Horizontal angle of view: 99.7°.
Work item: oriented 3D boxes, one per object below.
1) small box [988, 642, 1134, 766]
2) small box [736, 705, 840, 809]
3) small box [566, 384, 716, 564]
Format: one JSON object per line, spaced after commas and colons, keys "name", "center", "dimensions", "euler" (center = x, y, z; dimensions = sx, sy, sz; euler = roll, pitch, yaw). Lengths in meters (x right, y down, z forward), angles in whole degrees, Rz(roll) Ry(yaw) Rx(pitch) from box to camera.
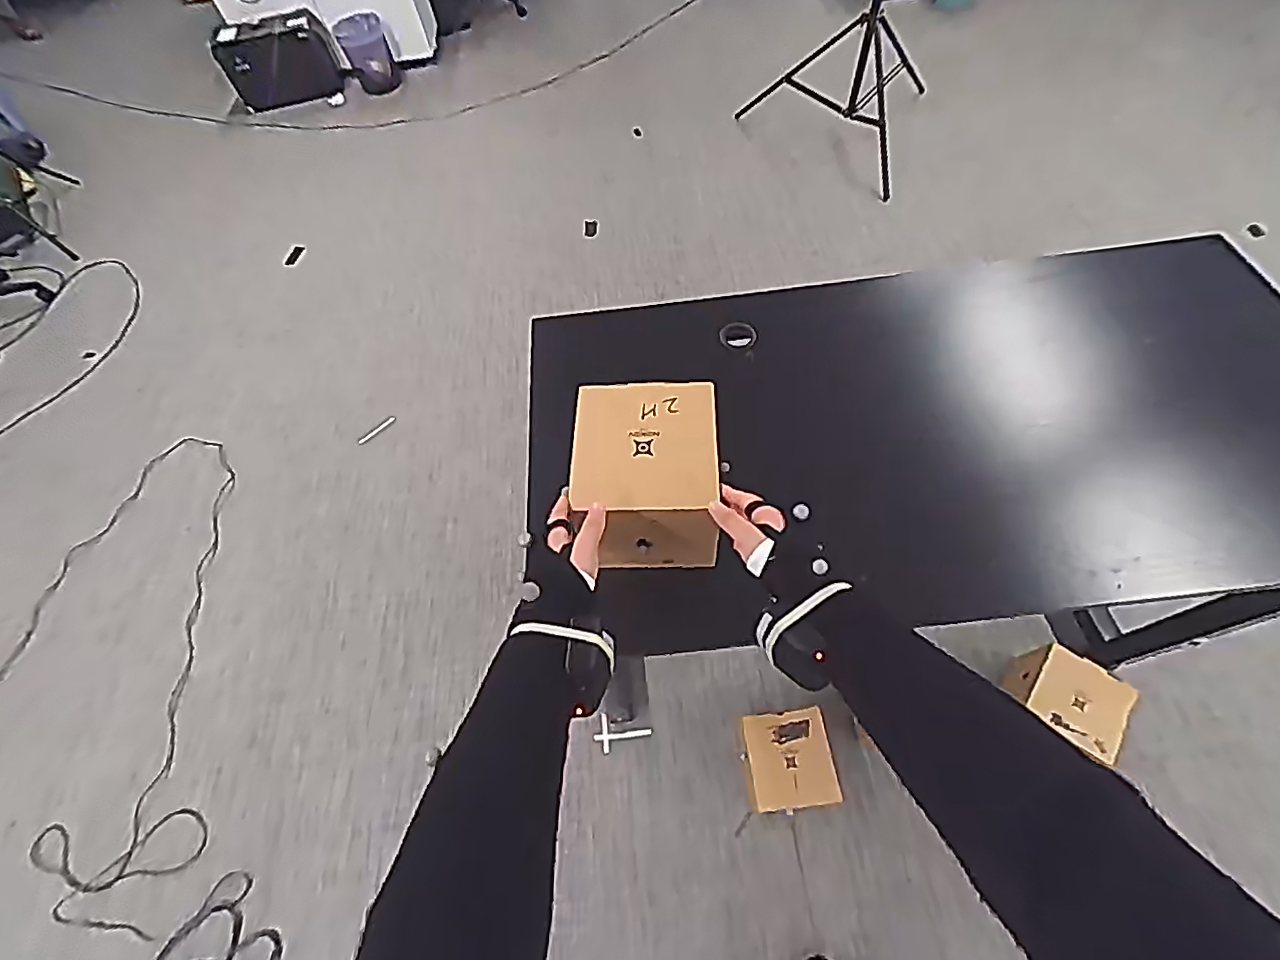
{"name": "small box", "center": [0.893, 0.484, 1.163], "dimensions": [0.168, 0.176, 0.179], "euler": [32, 68, 22]}
{"name": "small box", "center": [0.306, 0.595, 1.158], "dimensions": [0.168, 0.176, 0.179], "euler": [-8, 61, 1]}
{"name": "small box", "center": [0.010, 0.000, 0.685], "dimensions": [0.168, 0.176, 0.179], "euler": [-1, 59, 4]}
